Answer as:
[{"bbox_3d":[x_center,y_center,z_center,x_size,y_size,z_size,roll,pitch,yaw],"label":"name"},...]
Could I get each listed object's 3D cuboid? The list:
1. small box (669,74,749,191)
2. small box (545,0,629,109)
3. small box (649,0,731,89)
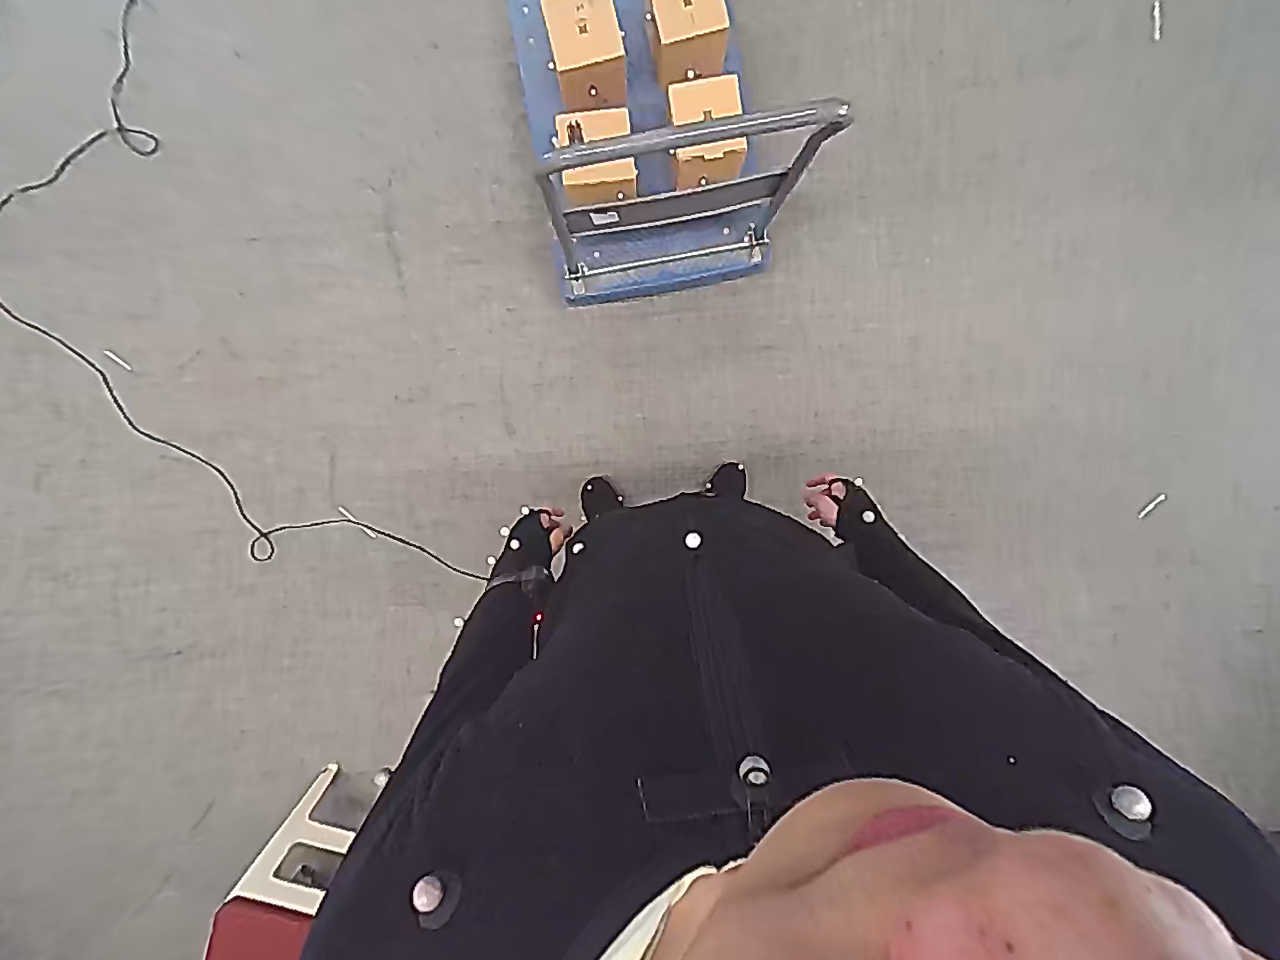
[{"bbox_3d":[0.166,-0.864,1.357,0.168,0.176,0.179,-9,93,1],"label":"small box"},{"bbox_3d":[-0.126,-1.069,1.352,0.168,0.176,0.179,-14,92,1],"label":"small box"},{"bbox_3d":[0.118,-1.130,1.345,0.168,0.176,0.179,-13,93,2],"label":"small box"}]
